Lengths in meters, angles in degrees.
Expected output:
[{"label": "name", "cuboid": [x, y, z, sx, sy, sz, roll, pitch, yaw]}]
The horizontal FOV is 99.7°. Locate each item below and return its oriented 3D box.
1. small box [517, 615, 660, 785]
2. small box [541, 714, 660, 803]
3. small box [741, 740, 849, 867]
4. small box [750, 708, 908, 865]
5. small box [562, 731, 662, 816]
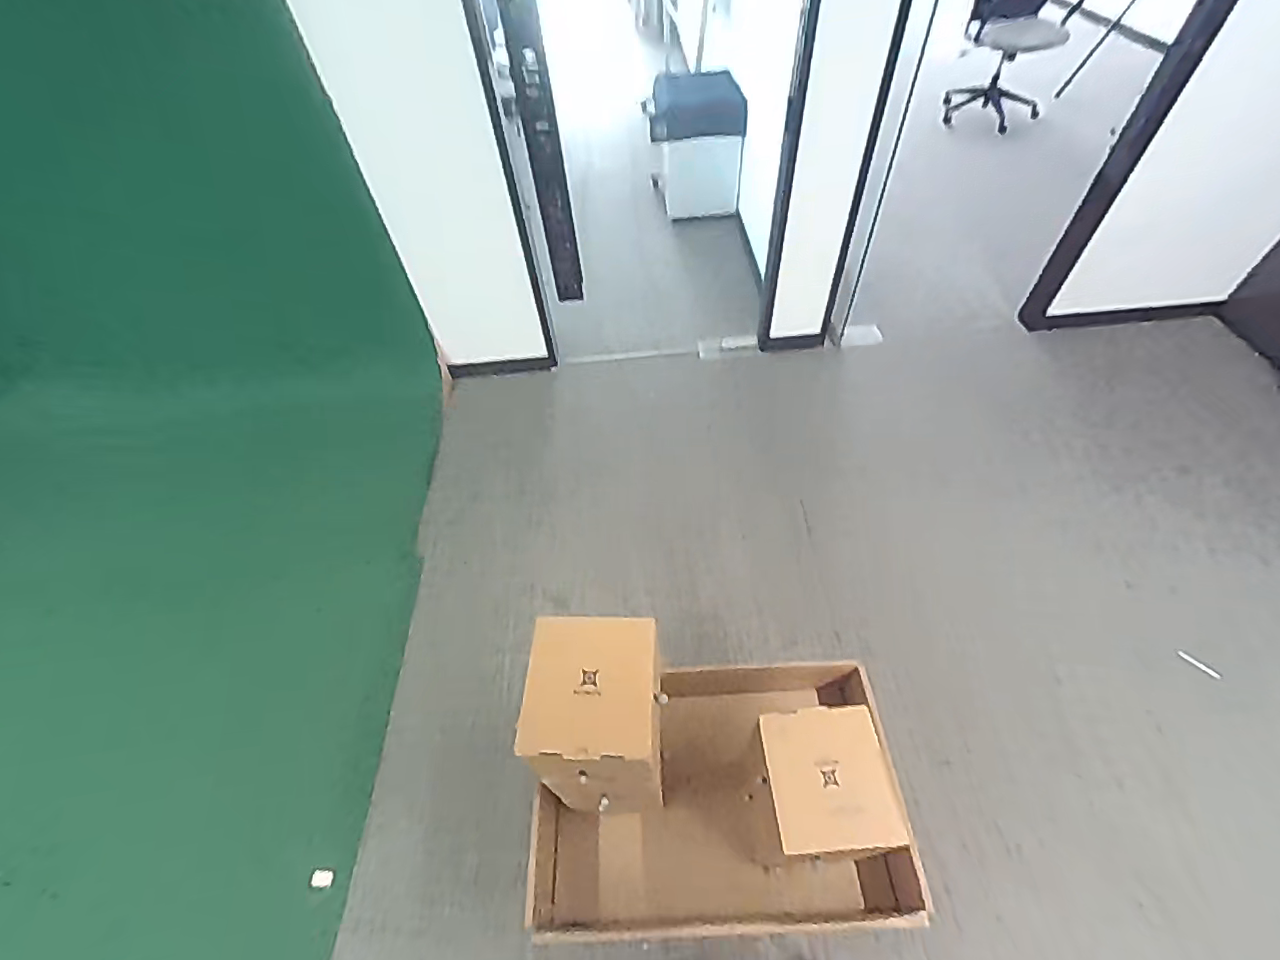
[{"label": "small box", "cuboid": [-0.058, 0.306, 0.751, 0.168, 0.176, 0.179, 1, 52, 4]}, {"label": "small box", "cuboid": [-0.053, 0.409, 0.878, 0.168, 0.176, 0.179, -1, 52, 4]}, {"label": "small box", "cuboid": [0.274, 0.561, 0.939, 0.168, 0.176, 0.179, -4, 50, 1]}, {"label": "small box", "cuboid": [0.265, 0.461, 0.810, 0.168, 0.176, 0.179, -5, 51, 1]}, {"label": "small box", "cuboid": [-0.044, 0.510, 1.005, 0.168, 0.176, 0.179, -2, 51, 2]}]
